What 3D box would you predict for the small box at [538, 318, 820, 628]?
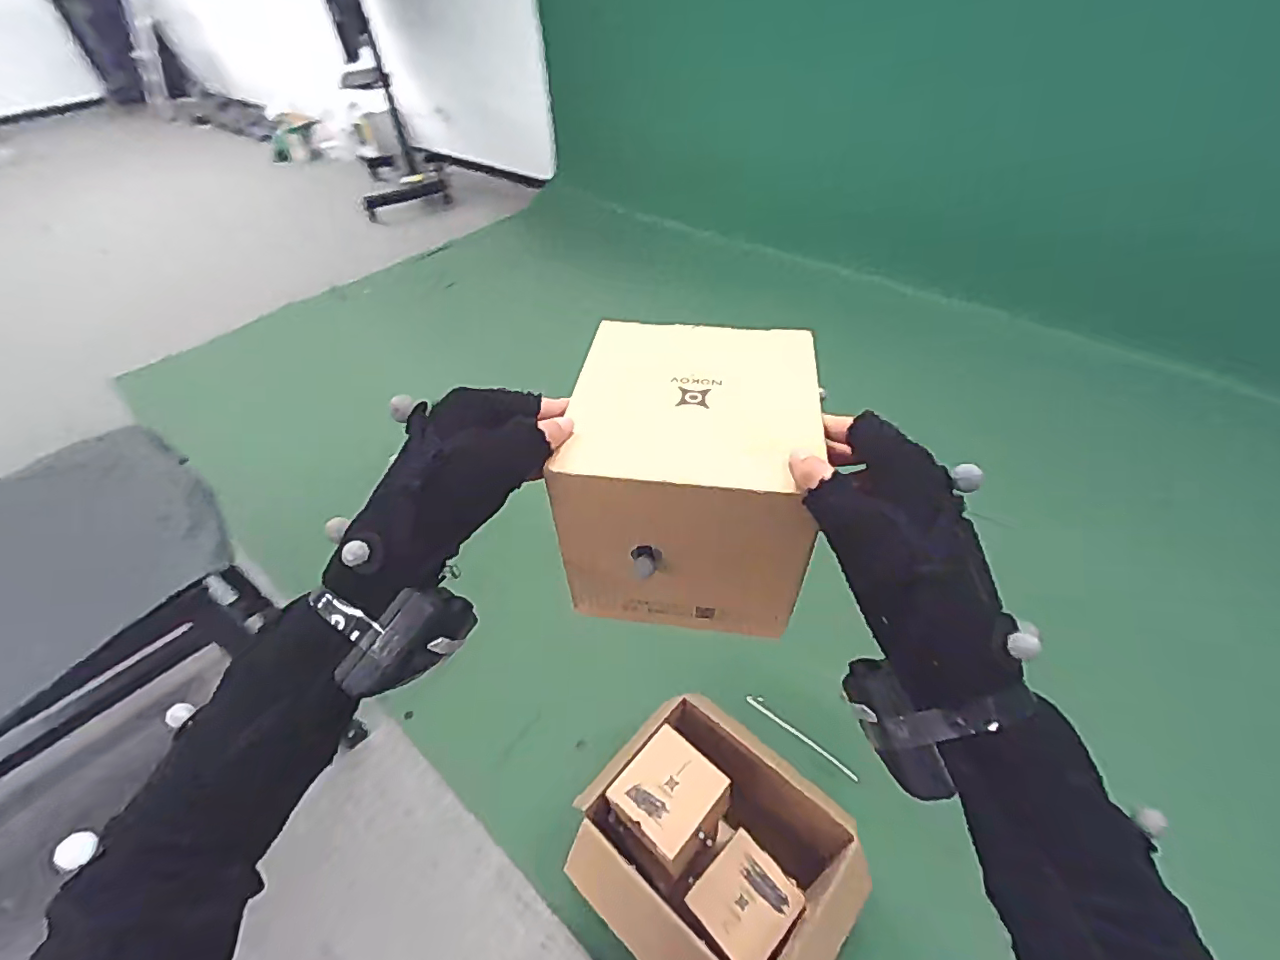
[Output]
[{"bbox_3d":[0.035,-0.005,0.418,0.168,0.176,0.179,4,47,7],"label":"small box"}]
